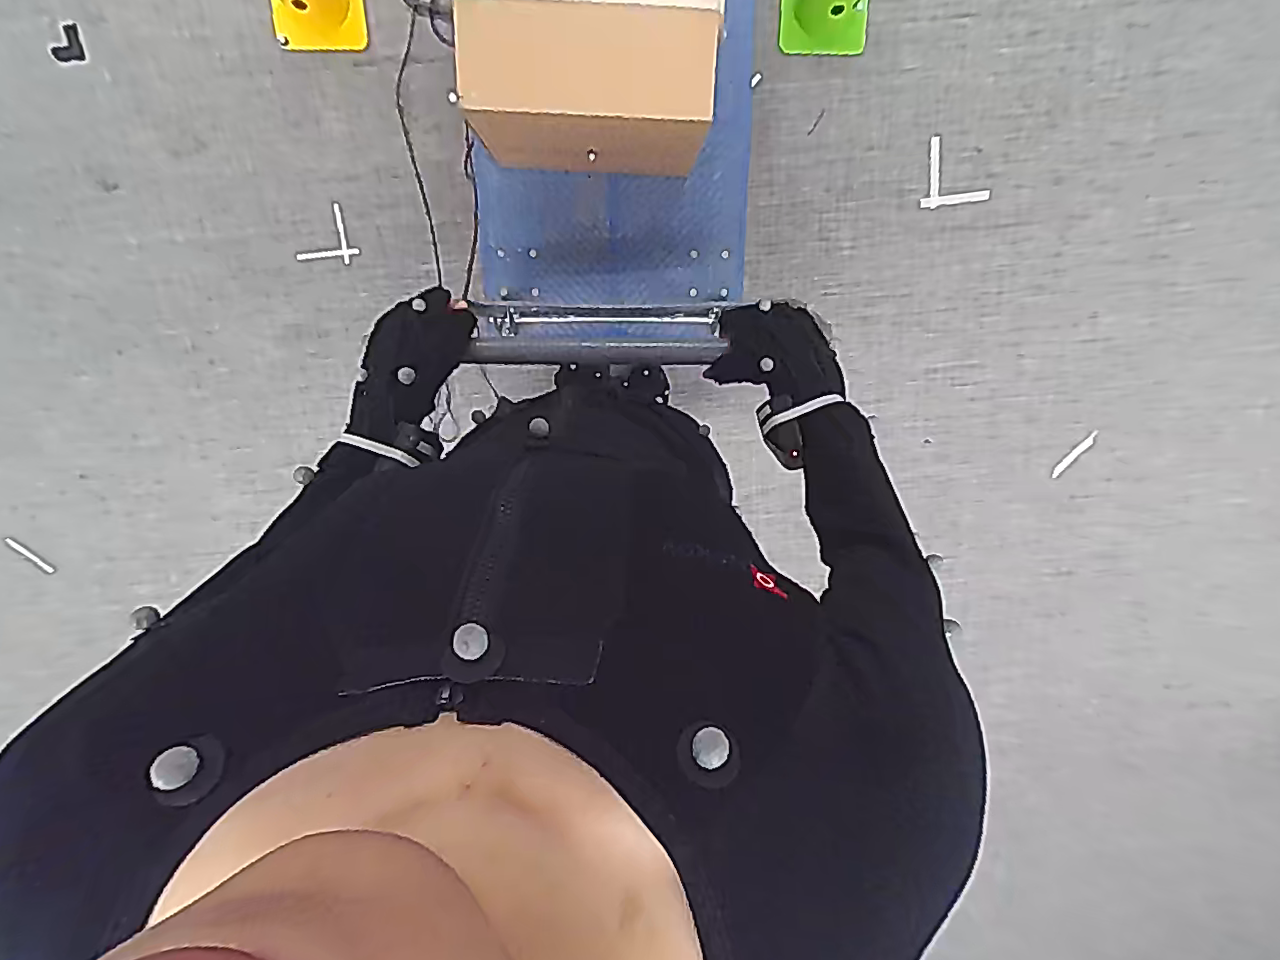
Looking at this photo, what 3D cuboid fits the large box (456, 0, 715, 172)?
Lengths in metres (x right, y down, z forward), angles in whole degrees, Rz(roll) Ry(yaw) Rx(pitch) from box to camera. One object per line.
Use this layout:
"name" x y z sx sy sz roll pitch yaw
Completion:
"large box" -0.083 -0.764 0.969 0.408 0.320 0.320 1 104 -2

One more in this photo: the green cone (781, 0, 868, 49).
"green cone" 0.431 -1.054 1.060 0.202 0.368 0.200 -1 104 -3
